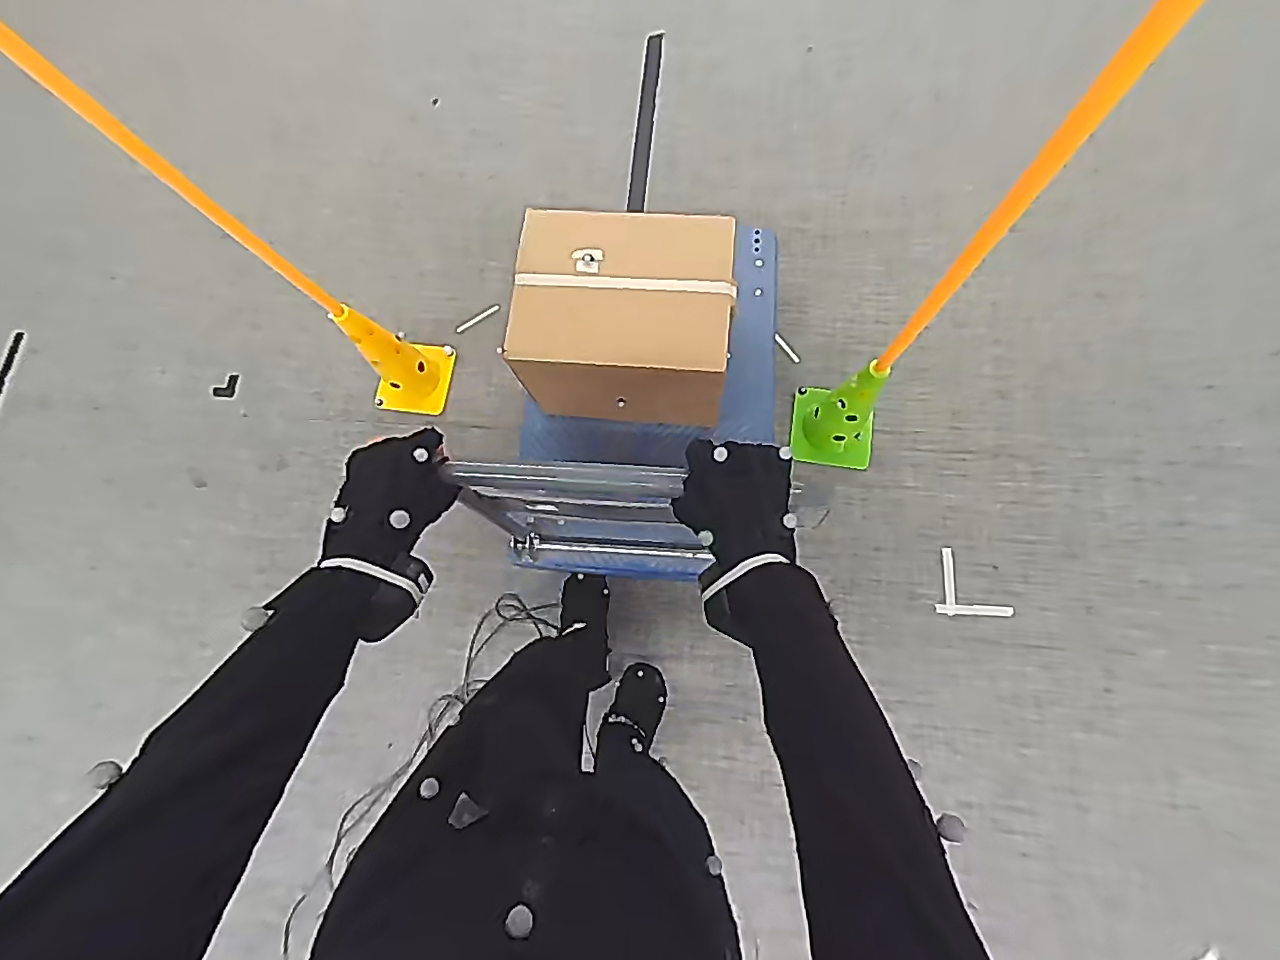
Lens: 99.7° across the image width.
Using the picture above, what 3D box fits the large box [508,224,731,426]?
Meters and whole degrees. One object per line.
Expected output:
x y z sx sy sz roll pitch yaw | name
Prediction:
-0.021 -0.311 1.153 0.408 0.320 0.320 5 78 7 | large box

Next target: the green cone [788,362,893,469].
0.479 -0.171 1.228 0.202 0.368 0.200 8 78 5 | green cone
